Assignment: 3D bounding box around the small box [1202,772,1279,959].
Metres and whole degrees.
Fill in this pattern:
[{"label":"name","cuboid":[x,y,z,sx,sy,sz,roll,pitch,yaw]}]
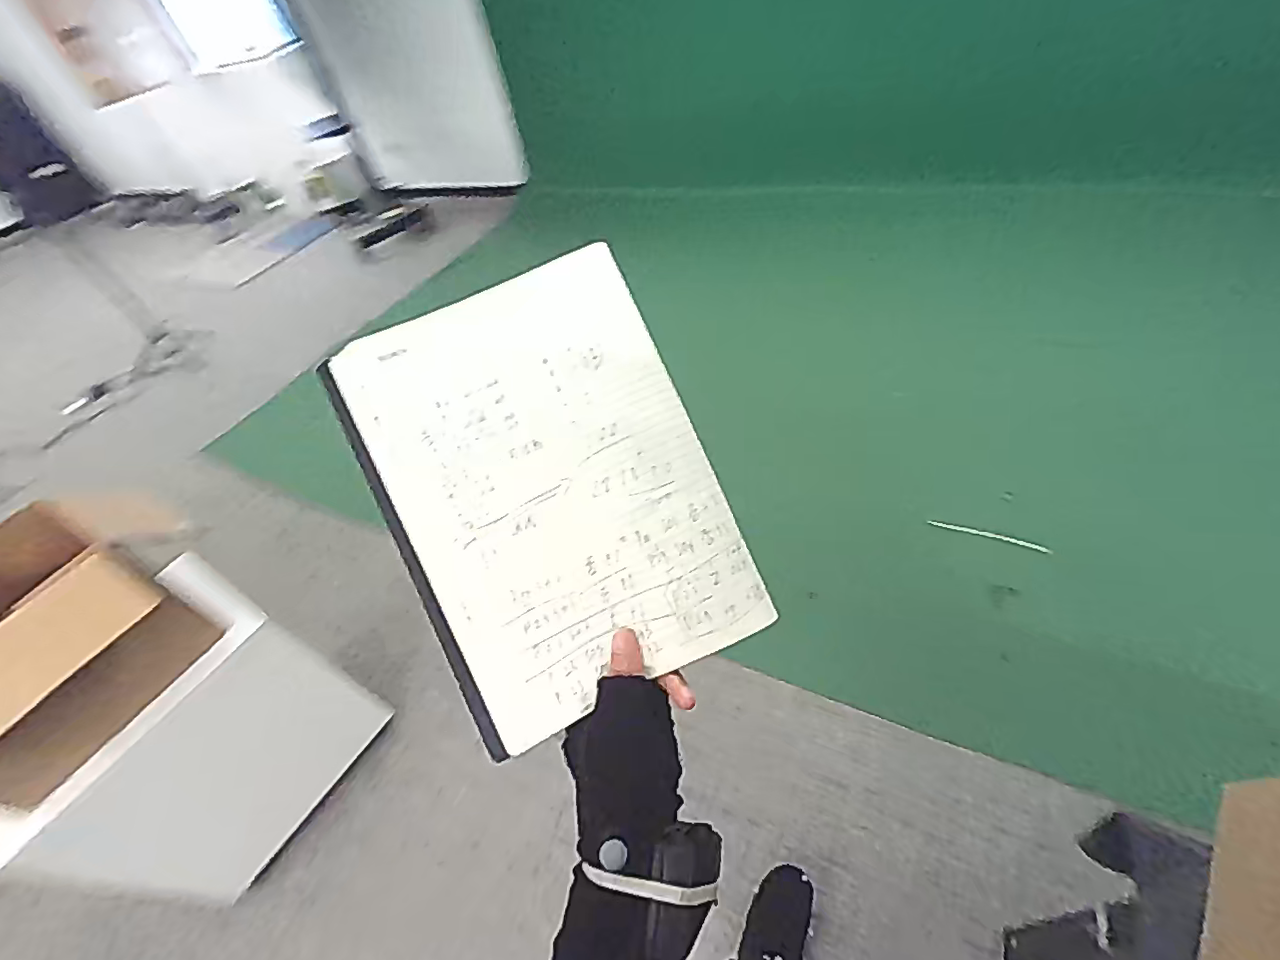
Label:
[{"label":"small box","cuboid":[0.542,0.320,0.369,0.168,0.176,0.179,21,66,29]}]
